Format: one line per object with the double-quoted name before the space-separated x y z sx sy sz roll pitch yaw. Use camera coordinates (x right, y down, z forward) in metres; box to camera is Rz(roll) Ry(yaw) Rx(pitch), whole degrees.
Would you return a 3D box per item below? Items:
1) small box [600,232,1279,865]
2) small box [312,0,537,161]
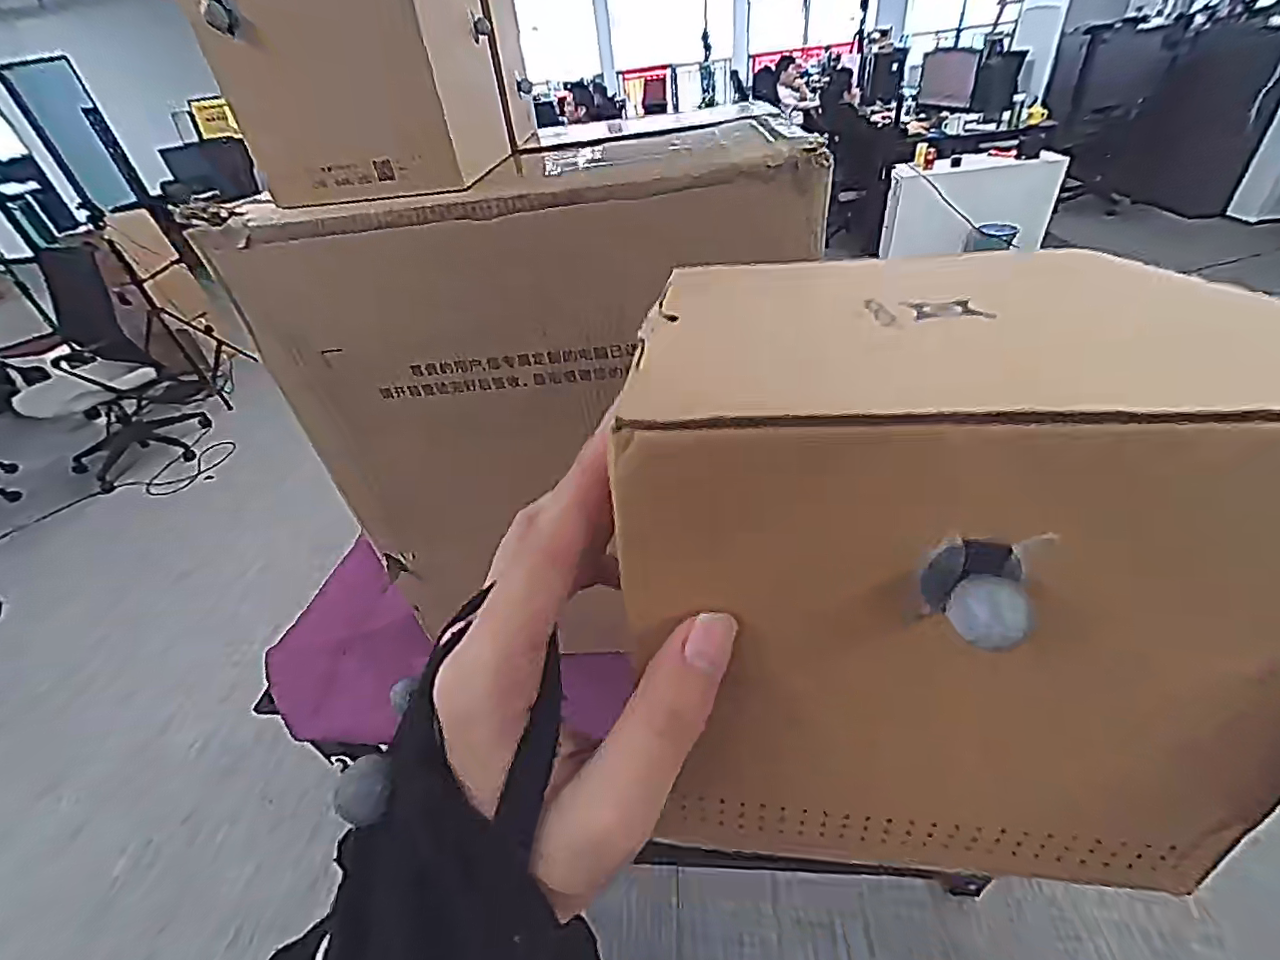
"small box" 0.093 0.013 0.205 0.179 0.176 0.168 0 31 9
"small box" -0.225 -0.463 0.596 0.179 0.176 0.168 -4 39 2
